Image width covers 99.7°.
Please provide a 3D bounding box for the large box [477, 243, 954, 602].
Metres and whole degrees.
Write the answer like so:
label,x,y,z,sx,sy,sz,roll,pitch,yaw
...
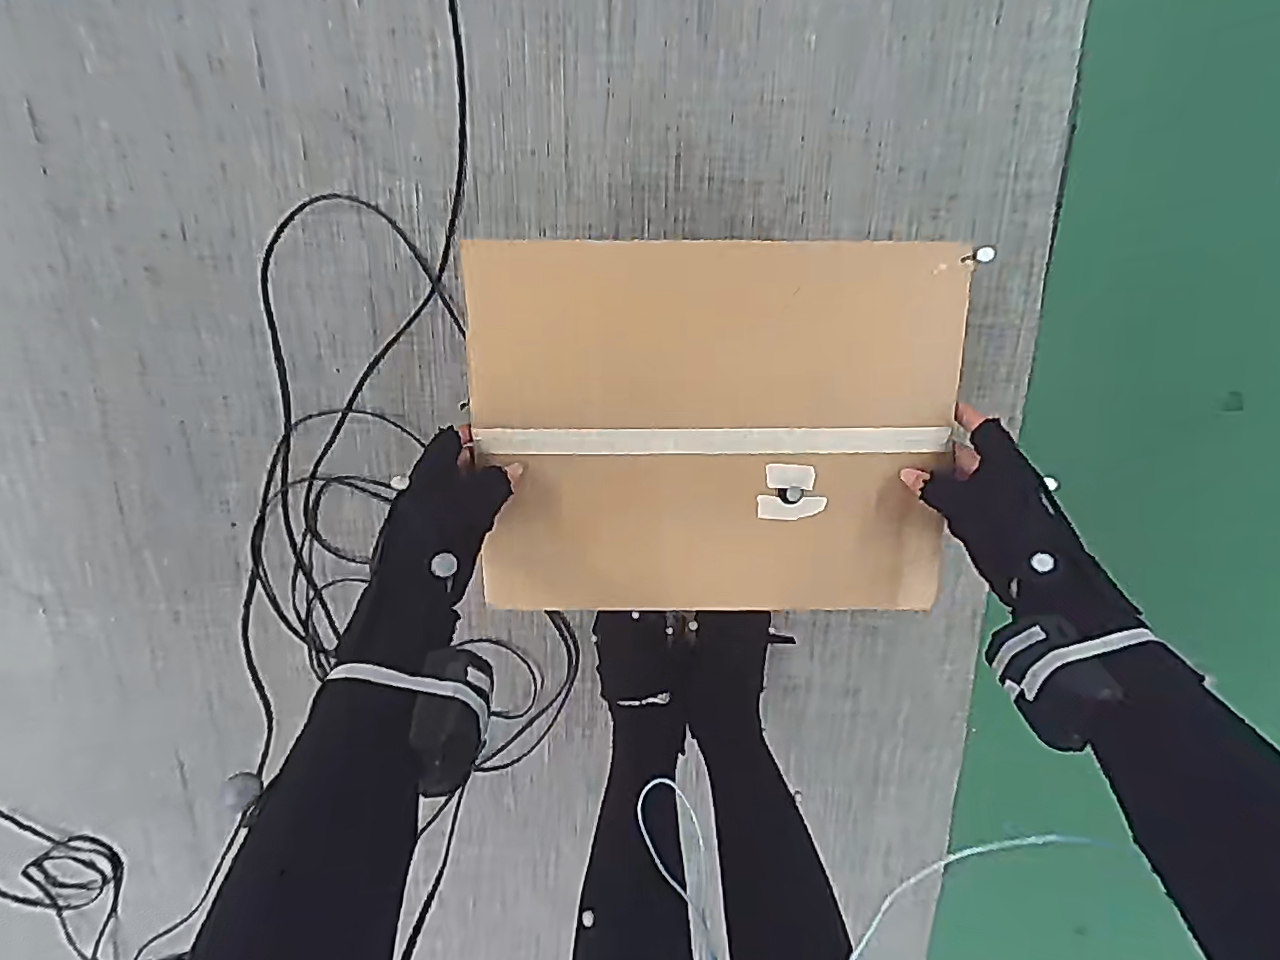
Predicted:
label,x,y,z,sx,sy,sz,roll,pitch,yaw
large box,0.063,-0.070,0.620,0.408,0.320,0.320,-1,102,-1
